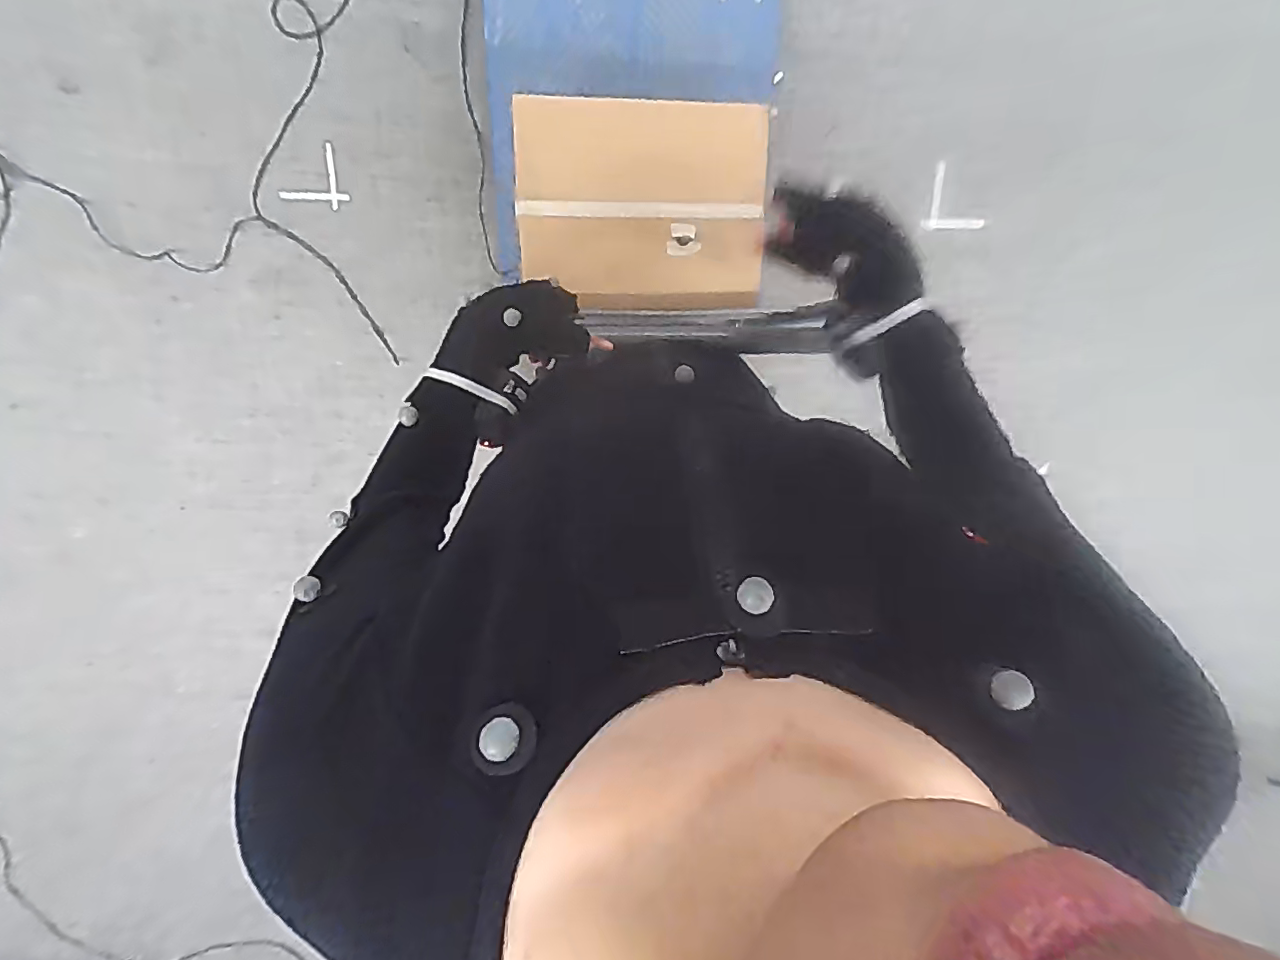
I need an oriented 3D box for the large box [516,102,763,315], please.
[{"bbox_3d":[-0.011,-0.488,1.043,0.408,0.320,0.320,-2,106,-6],"label":"large box"}]
